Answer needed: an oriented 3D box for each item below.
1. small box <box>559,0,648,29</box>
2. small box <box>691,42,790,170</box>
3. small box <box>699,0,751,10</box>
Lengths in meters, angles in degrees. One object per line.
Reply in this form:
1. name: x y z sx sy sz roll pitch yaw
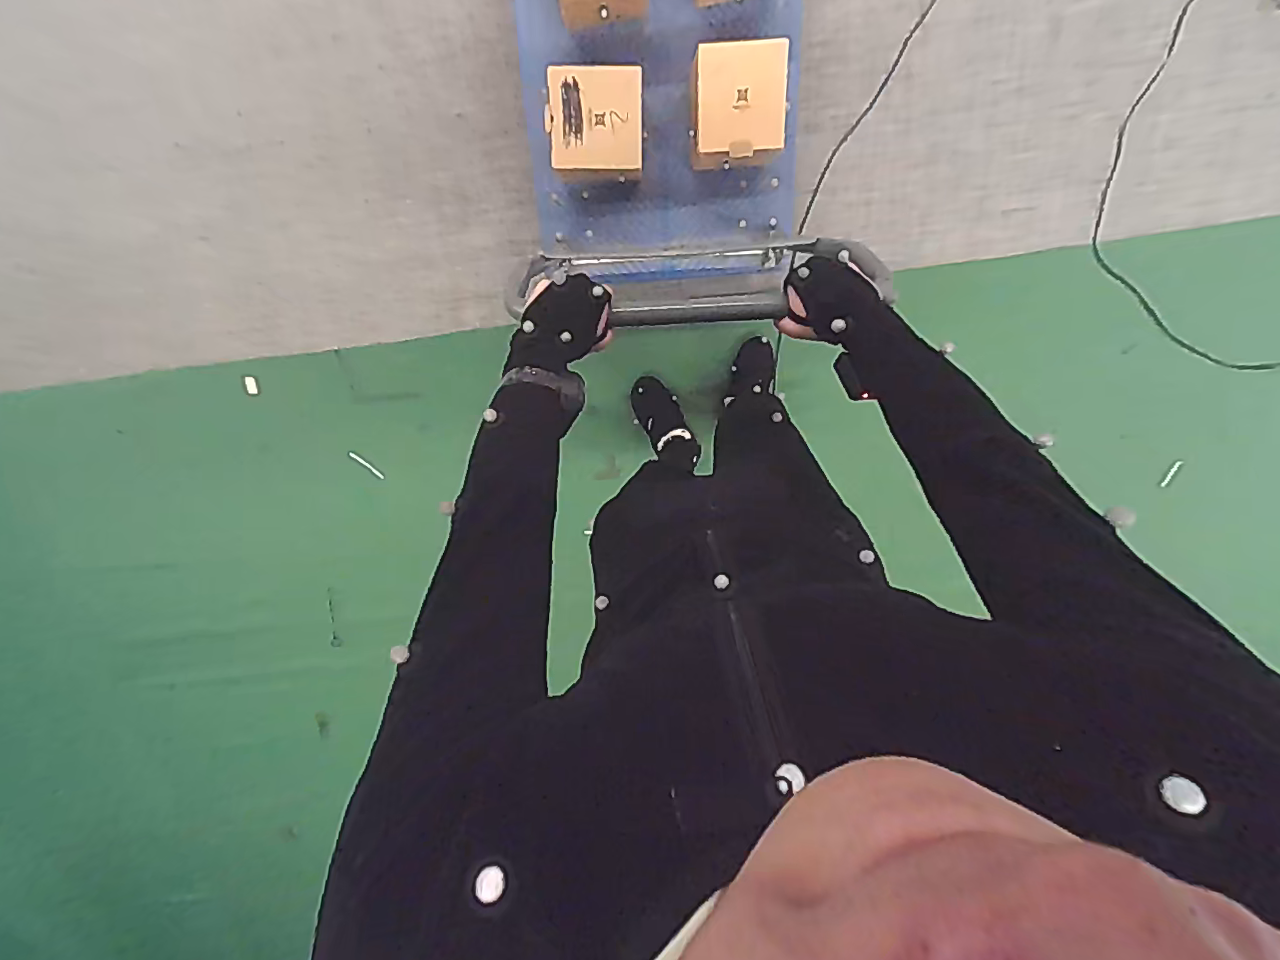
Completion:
1. small box: -0.077 -0.964 0.984 0.168 0.176 0.179 -10 111 3
2. small box: 0.192 -0.735 1.079 0.168 0.176 0.179 -3 112 1
3. small box: 0.180 -1.001 0.971 0.168 0.176 0.179 -9 112 4
